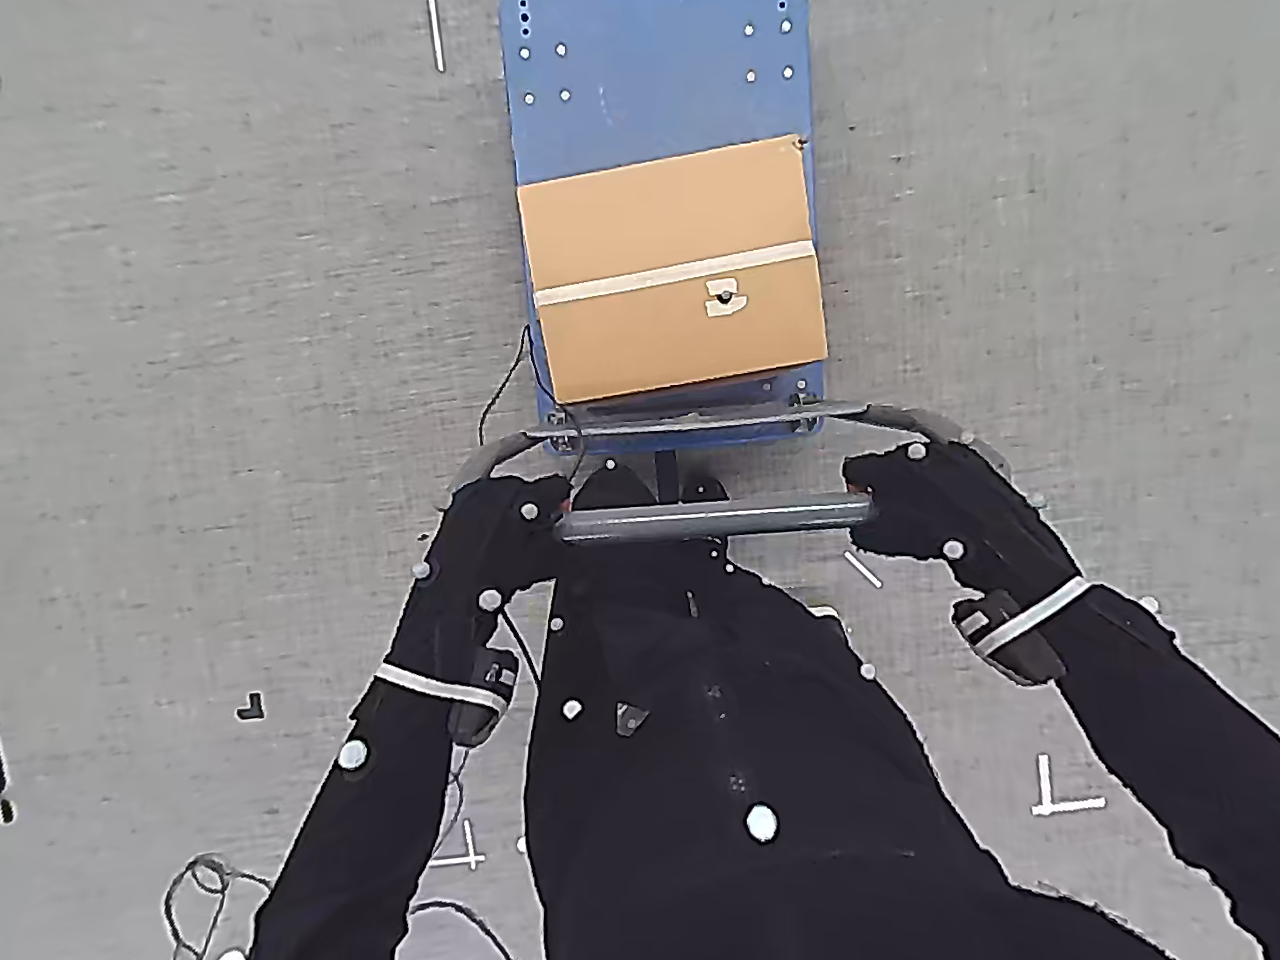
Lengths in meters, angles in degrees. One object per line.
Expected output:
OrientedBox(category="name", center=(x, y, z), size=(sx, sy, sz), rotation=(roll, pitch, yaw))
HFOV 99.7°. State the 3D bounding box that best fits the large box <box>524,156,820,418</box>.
OrientedBox(category="large box", center=(0.051, -0.297, 0.947), size=(0.408, 0.320, 0.320), rotation=(-10, 96, 2))
